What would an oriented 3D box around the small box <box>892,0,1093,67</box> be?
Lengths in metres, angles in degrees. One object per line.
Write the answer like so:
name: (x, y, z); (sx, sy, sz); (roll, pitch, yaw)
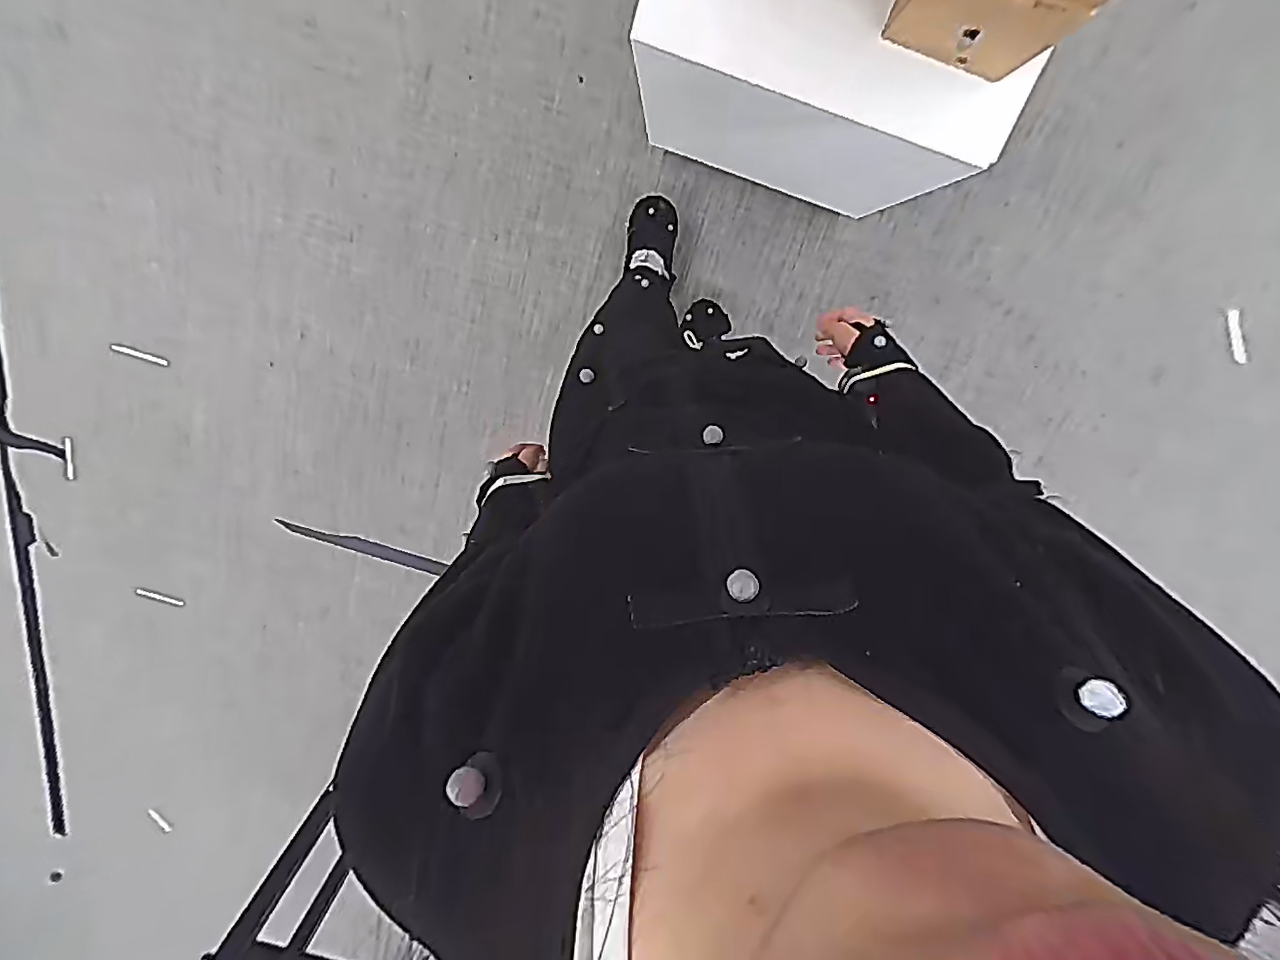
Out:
small box: (0.399, -0.589, 0.578); (0.168, 0.176, 0.179); (19, 111, -3)
